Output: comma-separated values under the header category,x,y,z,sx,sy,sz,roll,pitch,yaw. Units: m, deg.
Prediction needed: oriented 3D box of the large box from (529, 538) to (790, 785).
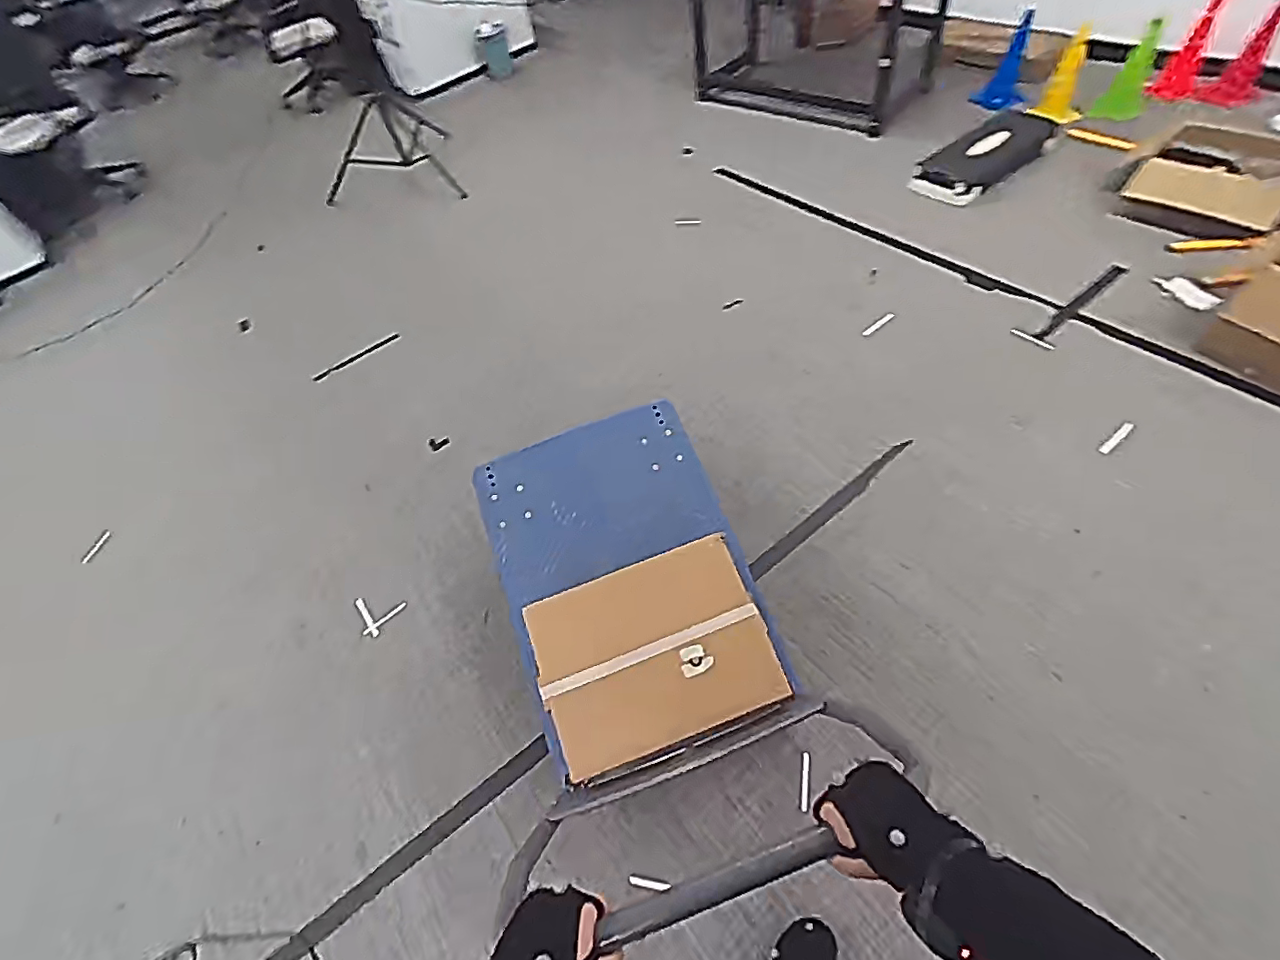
category,x,y,z,sx,sy,sz,roll,pitch,yaw
large box,0.033,0.371,1.121,0.408,0.320,0.320,-21,70,-6
